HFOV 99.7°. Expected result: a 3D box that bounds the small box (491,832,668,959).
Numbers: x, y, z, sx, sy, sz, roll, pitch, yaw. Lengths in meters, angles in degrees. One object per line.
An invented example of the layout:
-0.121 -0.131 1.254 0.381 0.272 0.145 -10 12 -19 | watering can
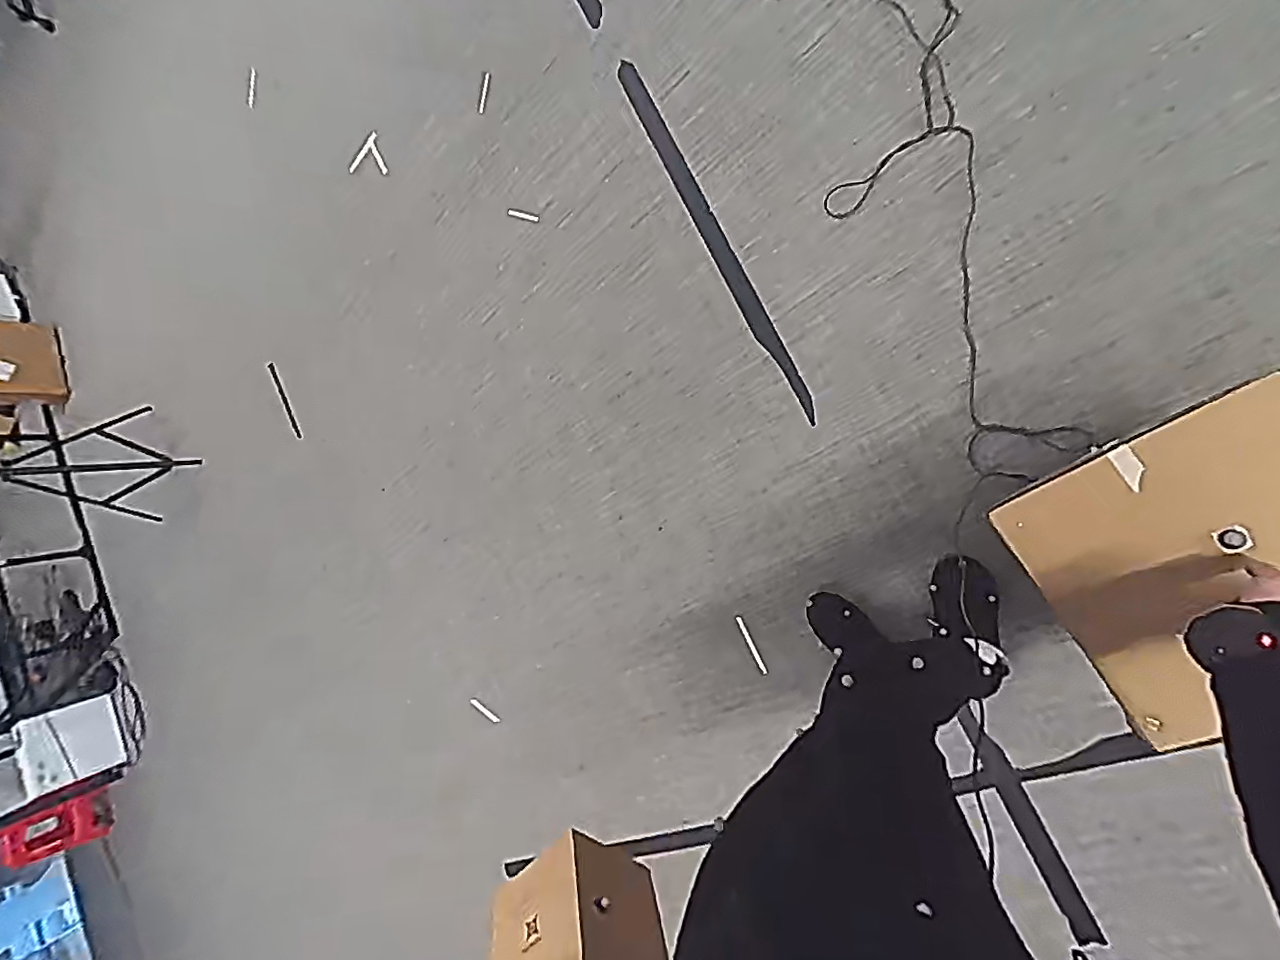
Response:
-0.078 0.623 0.717 0.168 0.179 0.176 -43 113 8 | small box
